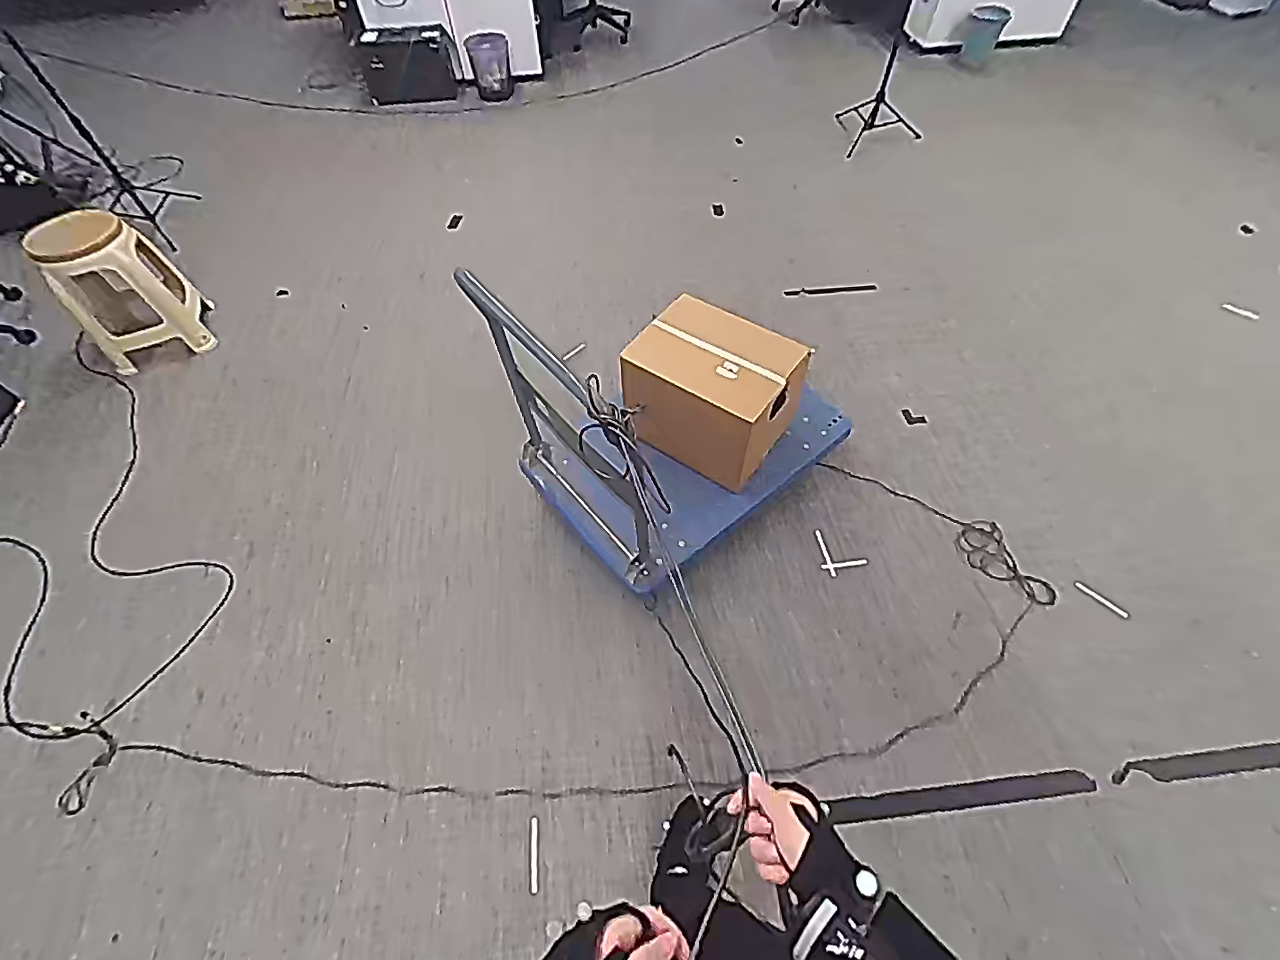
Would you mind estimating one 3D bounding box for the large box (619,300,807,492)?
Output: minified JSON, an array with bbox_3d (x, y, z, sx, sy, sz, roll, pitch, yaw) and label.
[{"bbox_3d":[0.189,-0.237,1.527,0.408,0.320,0.320,31,62,19],"label":"large box"}]
